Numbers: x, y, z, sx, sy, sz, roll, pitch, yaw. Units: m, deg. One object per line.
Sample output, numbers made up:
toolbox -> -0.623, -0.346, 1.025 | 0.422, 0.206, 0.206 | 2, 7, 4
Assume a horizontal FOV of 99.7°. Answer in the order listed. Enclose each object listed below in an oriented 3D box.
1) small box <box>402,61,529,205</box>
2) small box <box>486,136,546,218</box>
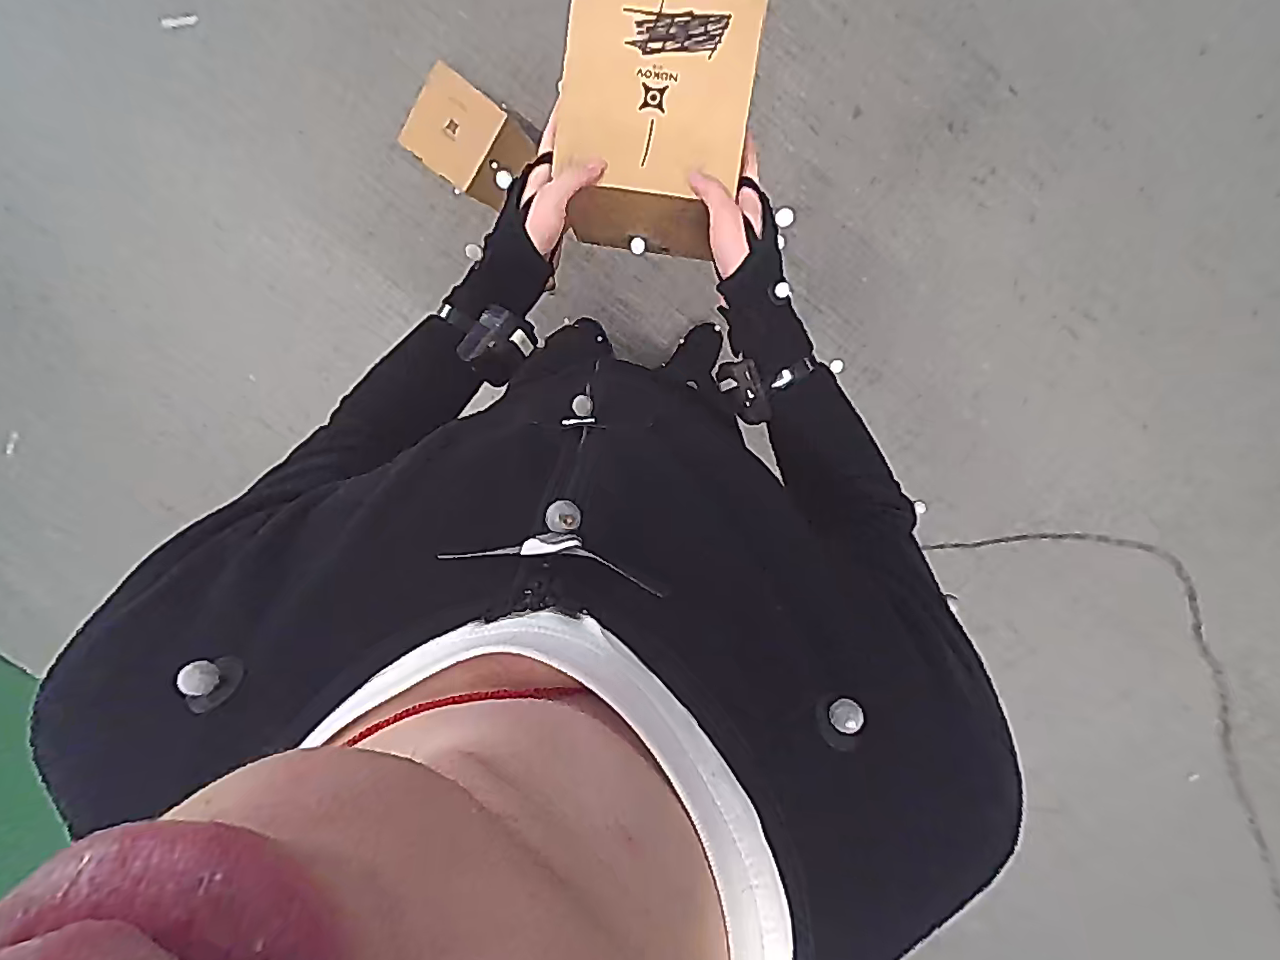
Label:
small box -> -0.361, -0.722, 1.152 | 0.168, 0.176, 0.179 | 36, 106, -7
small box -> -0.345, -0.769, 1.307 | 0.168, 0.176, 0.179 | 39, 107, -6
